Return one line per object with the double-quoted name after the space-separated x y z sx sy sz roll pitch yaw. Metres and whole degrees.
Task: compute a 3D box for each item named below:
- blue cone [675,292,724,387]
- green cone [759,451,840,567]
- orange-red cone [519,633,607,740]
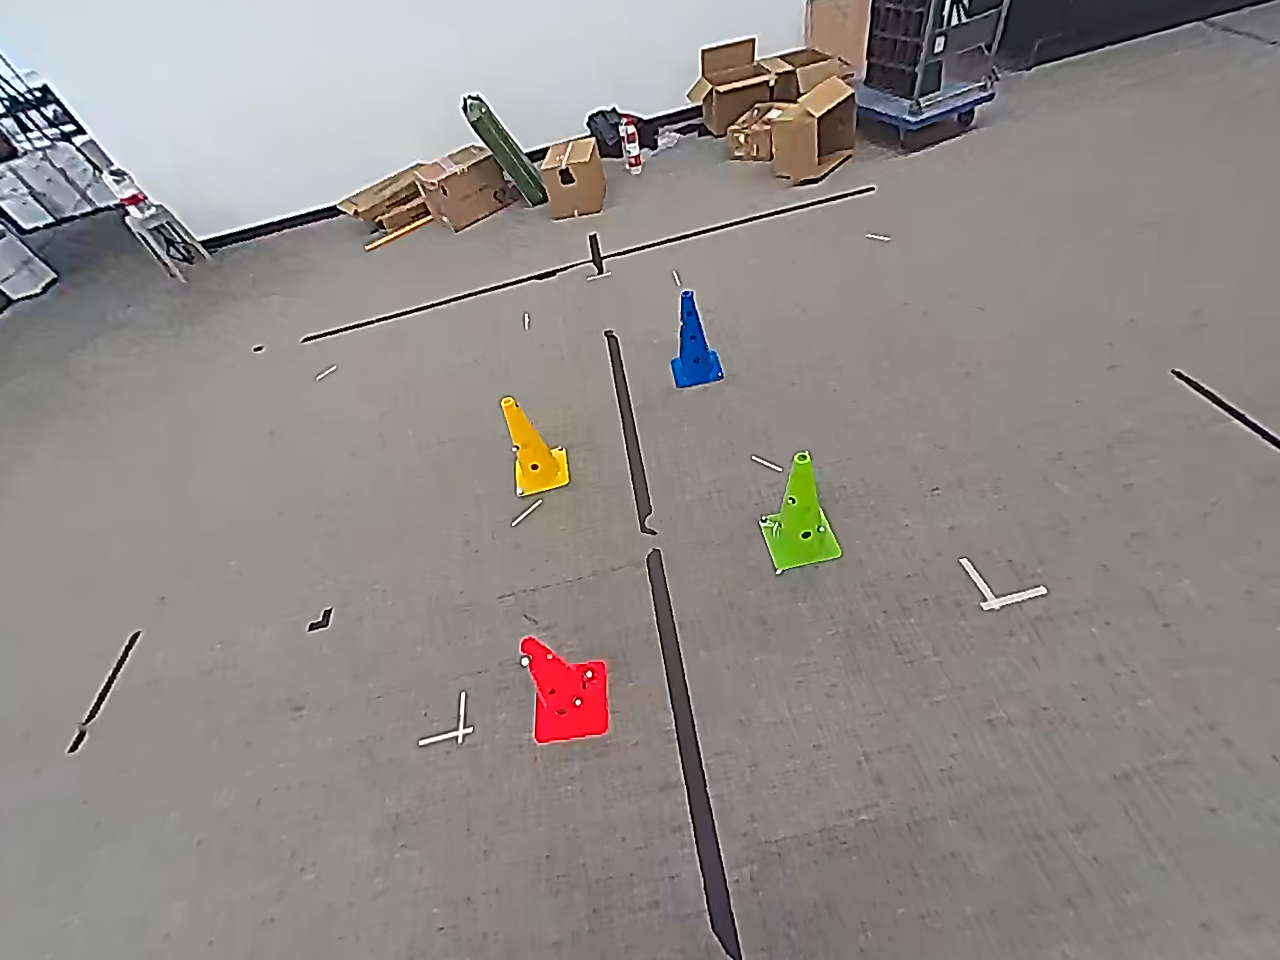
0.220 -0.569 2.150 0.192 0.380 0.193 -10 48 4 "blue cone"
0.453 0.059 1.520 0.202 0.368 0.200 -12 48 2 "green cone"
-0.221 0.475 1.328 0.199 0.360 0.198 -11 46 6 "orange-red cone"
